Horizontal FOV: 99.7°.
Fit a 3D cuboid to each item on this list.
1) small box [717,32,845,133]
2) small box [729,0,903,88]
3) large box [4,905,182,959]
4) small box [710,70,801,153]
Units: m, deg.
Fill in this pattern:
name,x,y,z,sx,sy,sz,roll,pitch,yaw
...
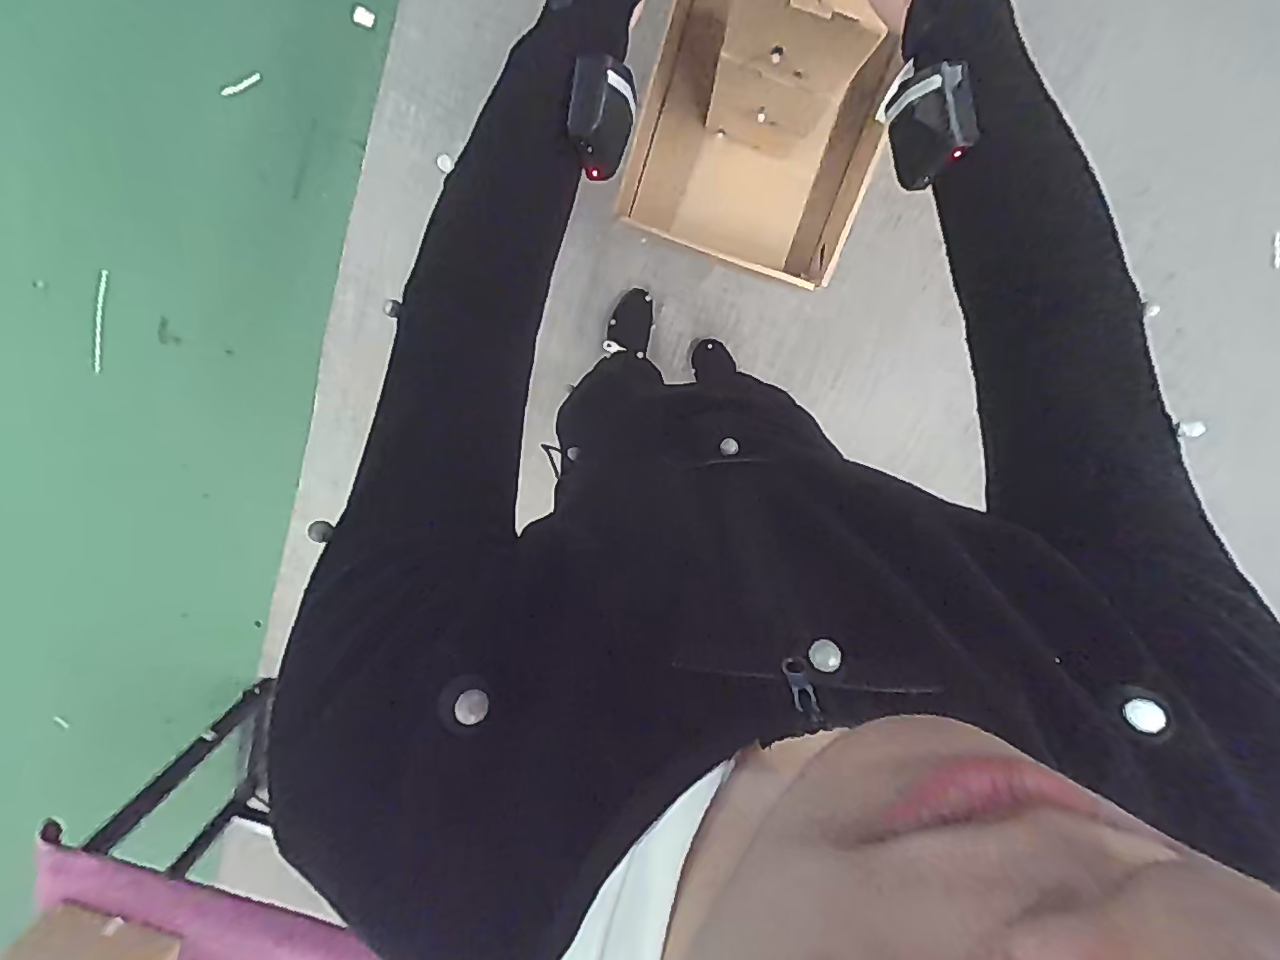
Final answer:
name,x,y,z,sx,sy,sz,roll,pitch,yaw
small box,0.215,-0.628,0.754,0.168,0.176,0.179,19,107,-3
small box,0.208,-0.585,0.598,0.168,0.176,0.179,18,107,-4
large box,-1.317,1.280,1.212,0.320,0.320,0.408,21,107,-5
small box,0.224,-0.686,0.908,0.168,0.176,0.179,19,106,-4
